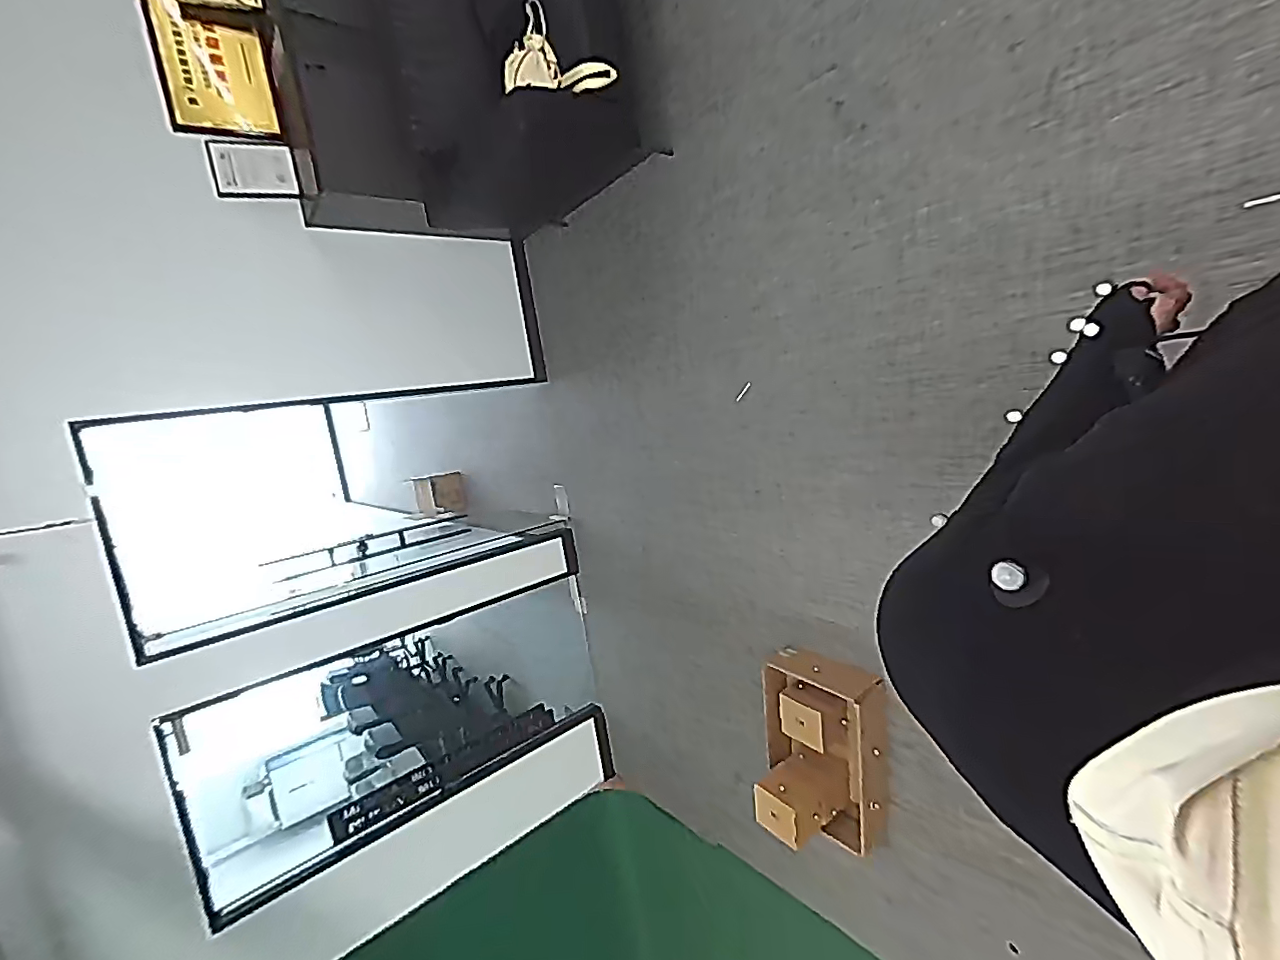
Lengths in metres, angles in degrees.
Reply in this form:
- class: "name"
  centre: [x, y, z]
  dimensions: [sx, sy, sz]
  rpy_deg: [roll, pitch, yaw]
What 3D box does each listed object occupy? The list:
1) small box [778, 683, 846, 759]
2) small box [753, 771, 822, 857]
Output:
- class: "small box"
  centre: [0.626, 0.864, 1.966]
  dimensions: [0.179, 0.176, 0.168]
  rpy_deg: [7, 108, 50]
- class: "small box"
  centre: [0.524, 1.174, 1.923]
  dimensions: [0.179, 0.176, 0.168]
  rpy_deg: [8, 106, 51]
